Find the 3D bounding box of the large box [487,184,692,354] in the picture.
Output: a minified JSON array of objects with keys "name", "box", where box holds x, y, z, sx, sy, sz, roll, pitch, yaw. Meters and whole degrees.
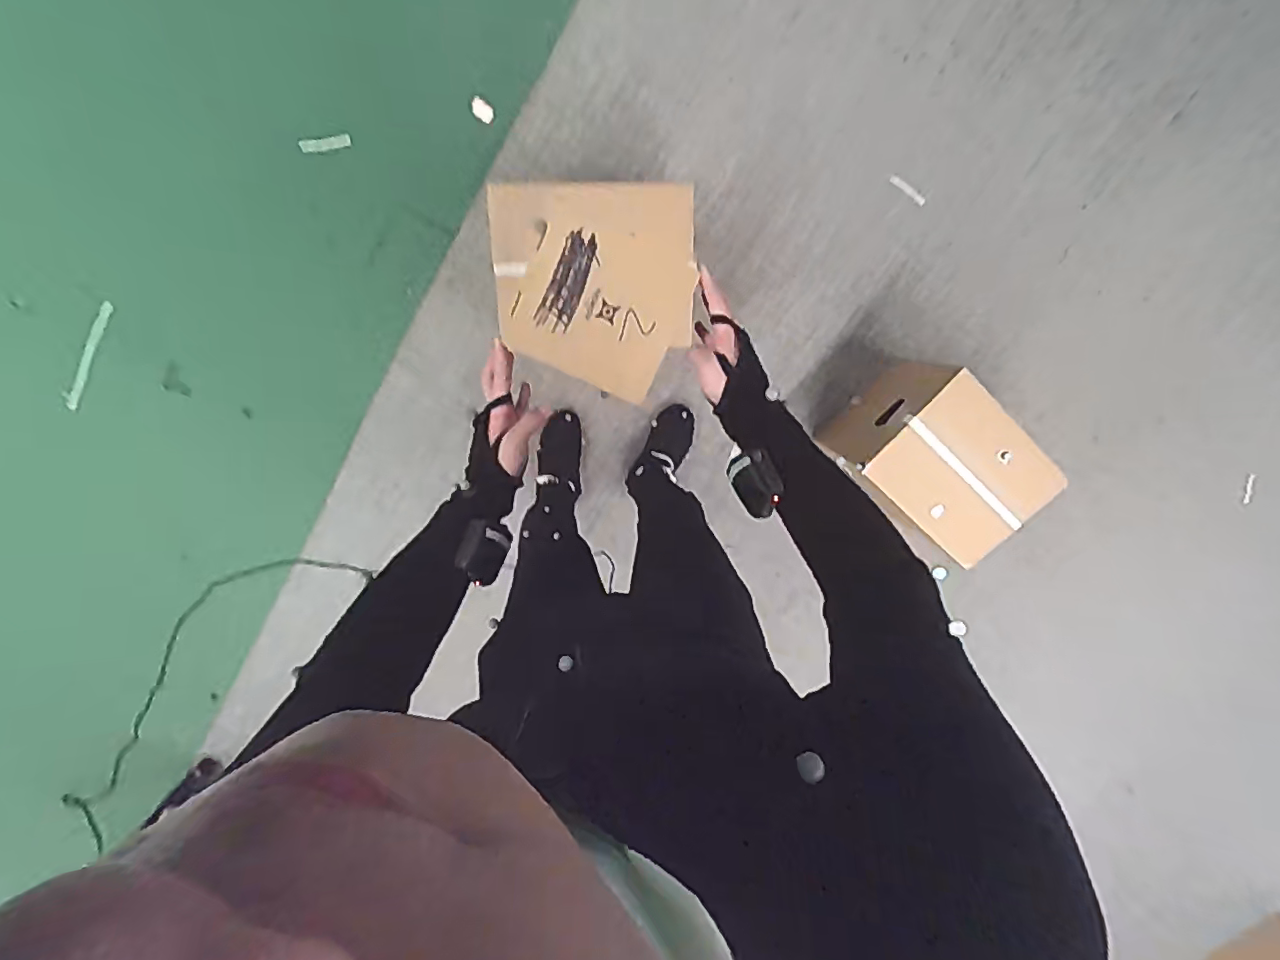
[{"name":"large box","box":[-0.096,-0.464,1.233,0.408,0.320,0.320,-1,106,-1]}]
